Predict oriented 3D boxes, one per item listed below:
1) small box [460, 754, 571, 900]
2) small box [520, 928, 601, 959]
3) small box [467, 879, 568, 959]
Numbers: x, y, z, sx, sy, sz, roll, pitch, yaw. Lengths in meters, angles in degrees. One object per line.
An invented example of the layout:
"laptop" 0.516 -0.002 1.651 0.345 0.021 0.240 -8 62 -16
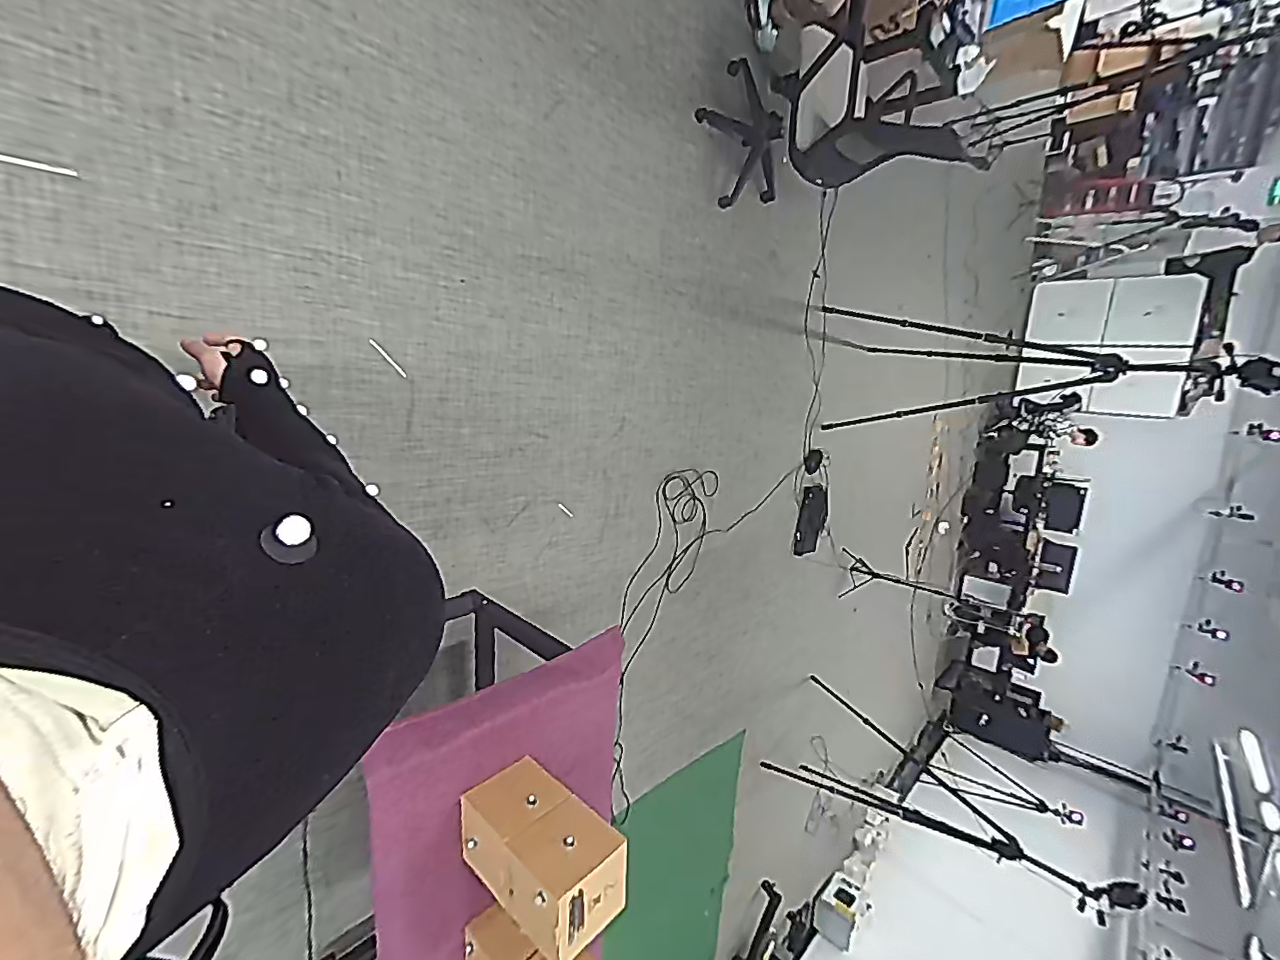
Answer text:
"small box" -0.272 0.742 1.183 0.179 0.176 0.168 -11 107 -45
"small box" -0.173 1.109 1.144 0.168 0.176 0.179 -8 107 -45
"small box" -0.288 1.081 1.255 0.179 0.176 0.168 -9 107 -46
